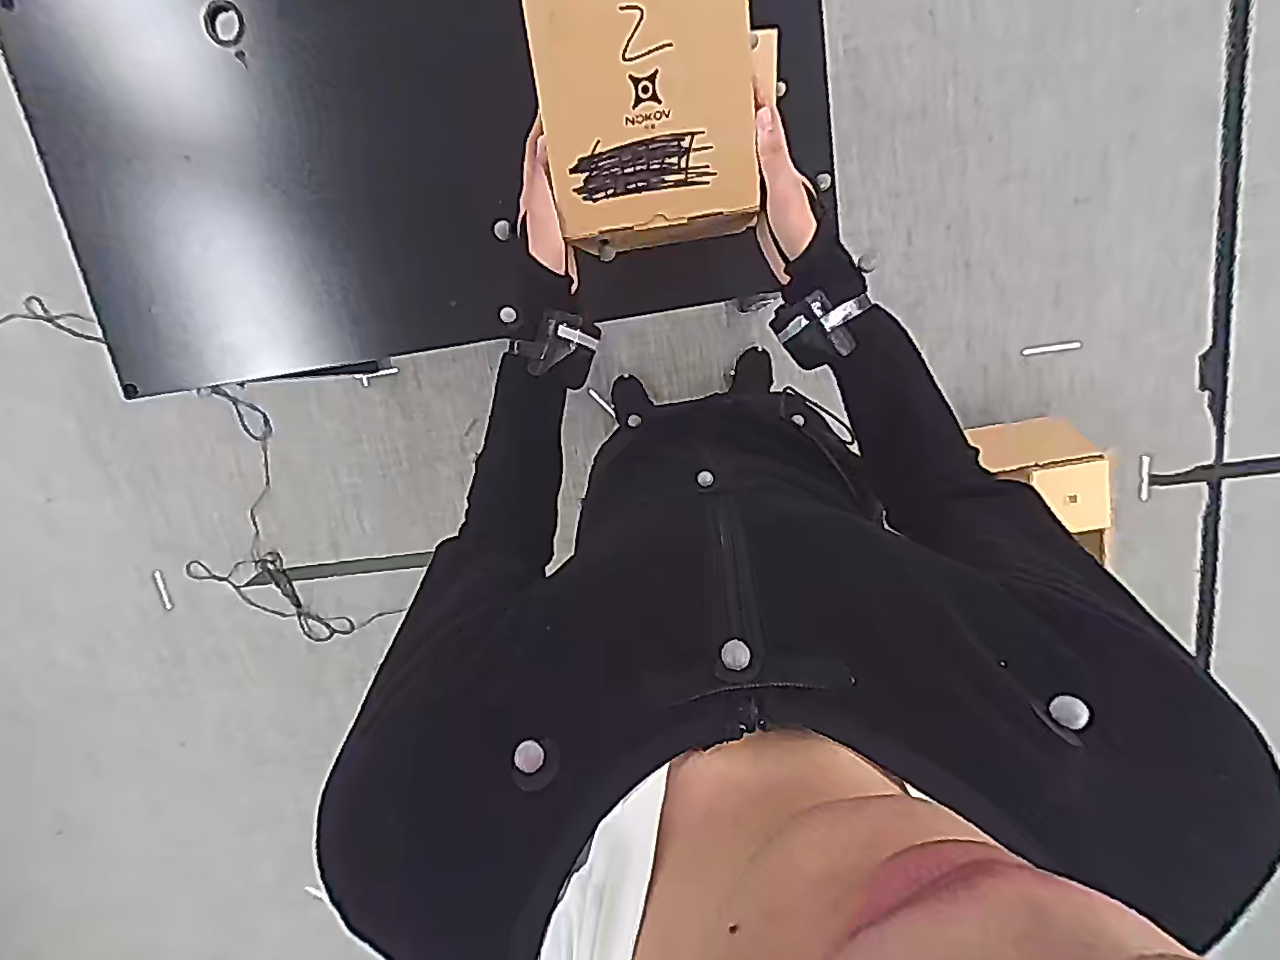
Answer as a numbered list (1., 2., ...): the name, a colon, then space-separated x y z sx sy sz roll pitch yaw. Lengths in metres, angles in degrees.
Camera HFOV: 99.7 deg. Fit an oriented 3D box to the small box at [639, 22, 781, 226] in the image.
1. small box: 0.084 -0.450 0.711 0.168 0.176 0.179 0 103 4
